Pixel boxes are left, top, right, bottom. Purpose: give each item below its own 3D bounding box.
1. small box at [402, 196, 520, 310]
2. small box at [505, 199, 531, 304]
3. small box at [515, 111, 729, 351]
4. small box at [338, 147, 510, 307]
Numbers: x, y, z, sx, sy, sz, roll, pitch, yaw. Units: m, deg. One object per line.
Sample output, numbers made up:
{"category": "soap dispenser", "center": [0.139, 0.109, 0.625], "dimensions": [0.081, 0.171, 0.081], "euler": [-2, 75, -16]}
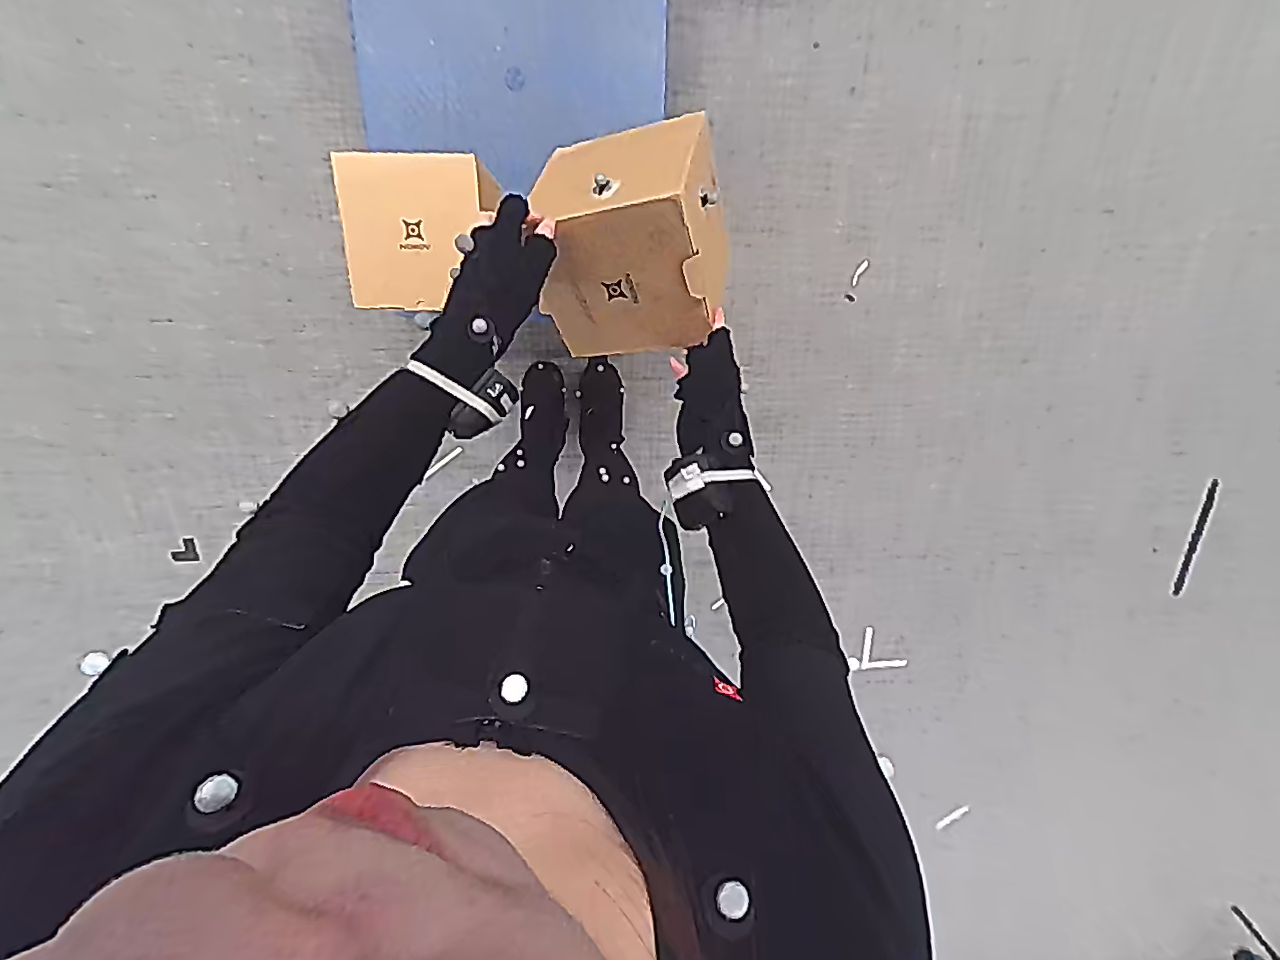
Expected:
{"category": "small box", "center": [-0.296, -0.377, 0.883], "dimensions": [0.168, 0.176, 0.179], "euler": [-4, 110, -3]}
{"category": "small box", "center": [-0.306, -0.433, 1.038], "dimensions": [0.168, 0.176, 0.179], "euler": [-2, 109, -4]}
{"category": "small box", "center": [-0.003, -0.264, 0.589], "dimensions": [0.179, 0.176, 0.168], "euler": [0, 146, 21]}
{"category": "small box", "center": [-0.275, -0.327, 0.729], "dimensions": [0.168, 0.176, 0.179], "euler": [-1, 109, -4]}
